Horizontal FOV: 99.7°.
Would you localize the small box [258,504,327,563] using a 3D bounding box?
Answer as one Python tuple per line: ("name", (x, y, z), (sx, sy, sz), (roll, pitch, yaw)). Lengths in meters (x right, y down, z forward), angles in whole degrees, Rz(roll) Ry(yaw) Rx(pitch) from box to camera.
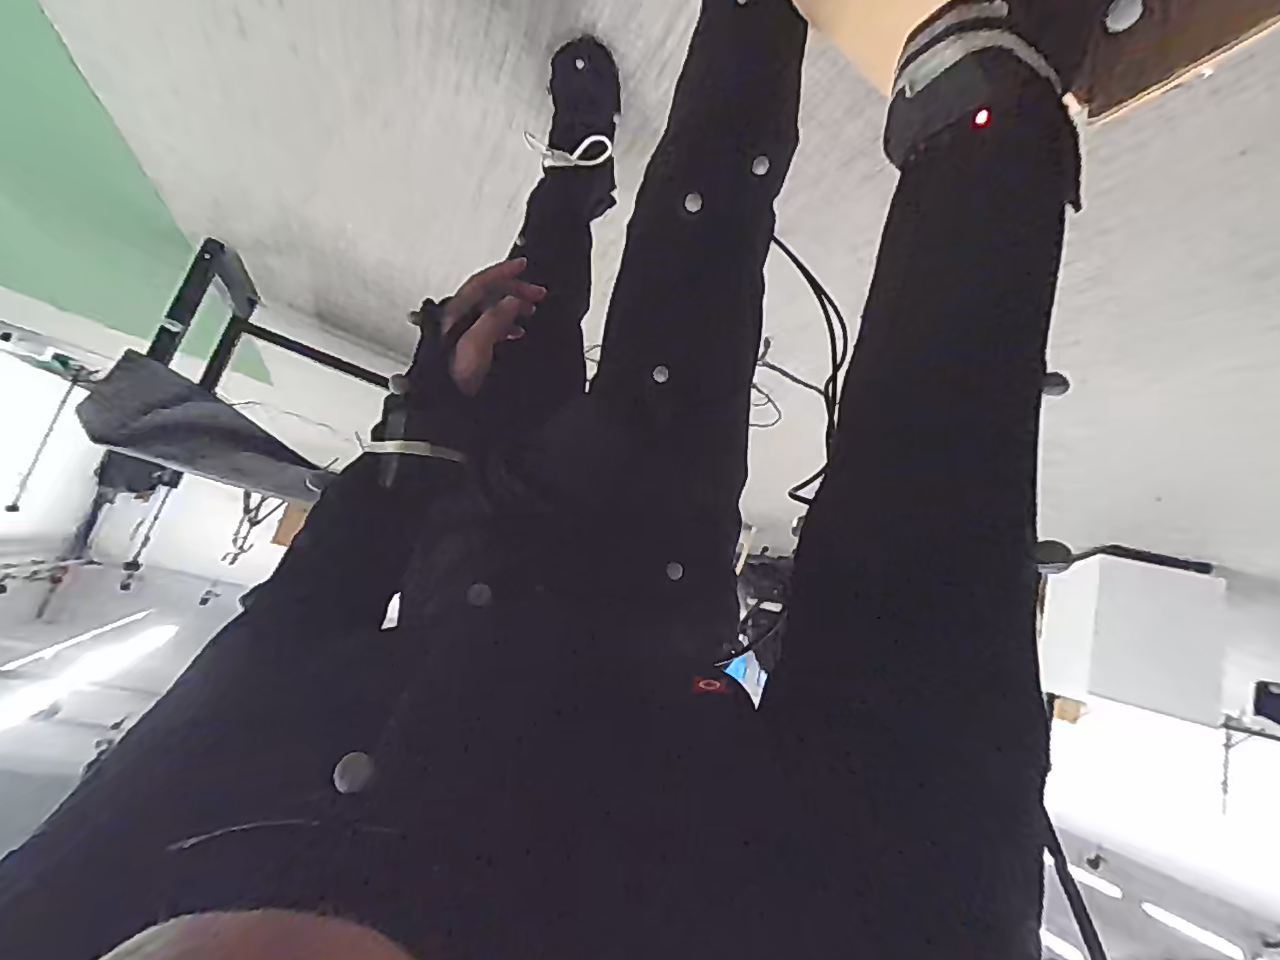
("small box", (-1.251, 0.192, 1.958), (0.168, 0.176, 0.179), (21, 166, -26))
